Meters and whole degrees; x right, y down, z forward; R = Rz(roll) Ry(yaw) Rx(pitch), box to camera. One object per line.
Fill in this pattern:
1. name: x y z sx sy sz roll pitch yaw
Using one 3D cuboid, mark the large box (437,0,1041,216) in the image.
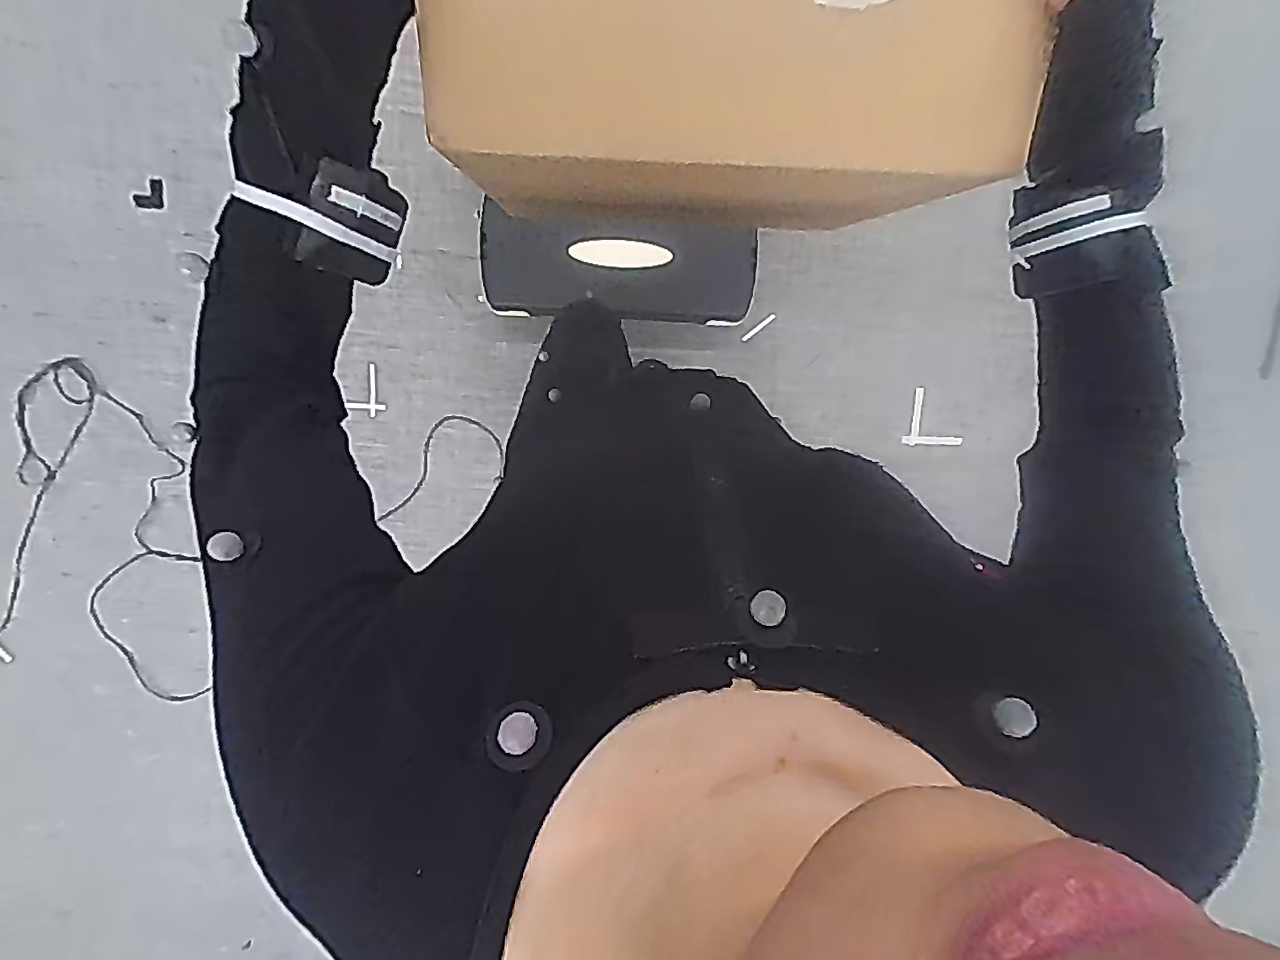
1. large box: 0.057 -0.420 0.467 0.408 0.320 0.320 -1 109 -5
